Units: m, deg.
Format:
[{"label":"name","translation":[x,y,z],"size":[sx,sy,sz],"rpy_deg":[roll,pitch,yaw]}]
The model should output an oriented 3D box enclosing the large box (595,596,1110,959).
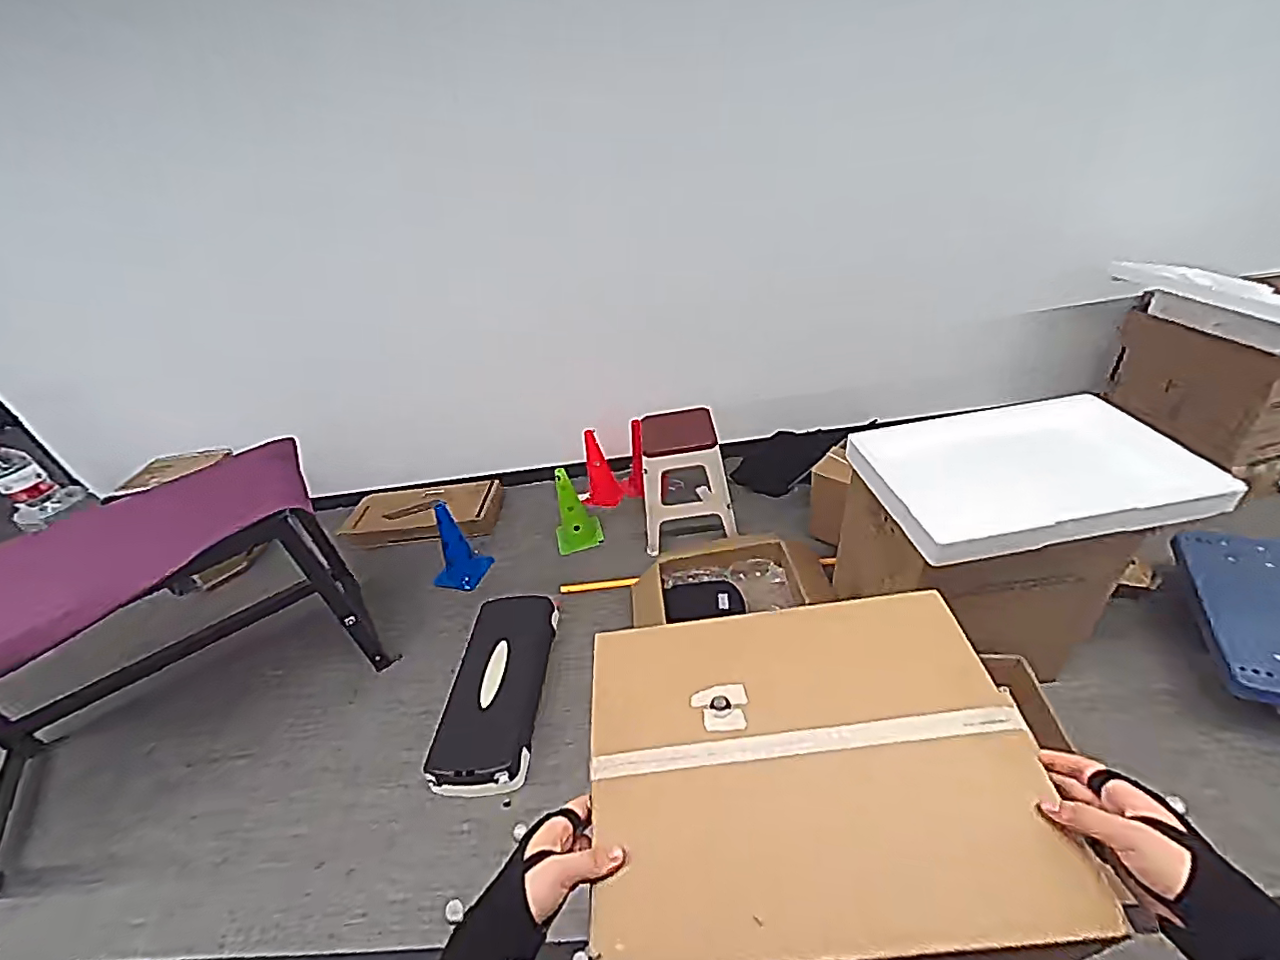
[{"label":"large box","translation":[0.180,0.378,0.624],"size":[0.408,0.320,0.320],"rpy_deg":[-10,39,5]}]
